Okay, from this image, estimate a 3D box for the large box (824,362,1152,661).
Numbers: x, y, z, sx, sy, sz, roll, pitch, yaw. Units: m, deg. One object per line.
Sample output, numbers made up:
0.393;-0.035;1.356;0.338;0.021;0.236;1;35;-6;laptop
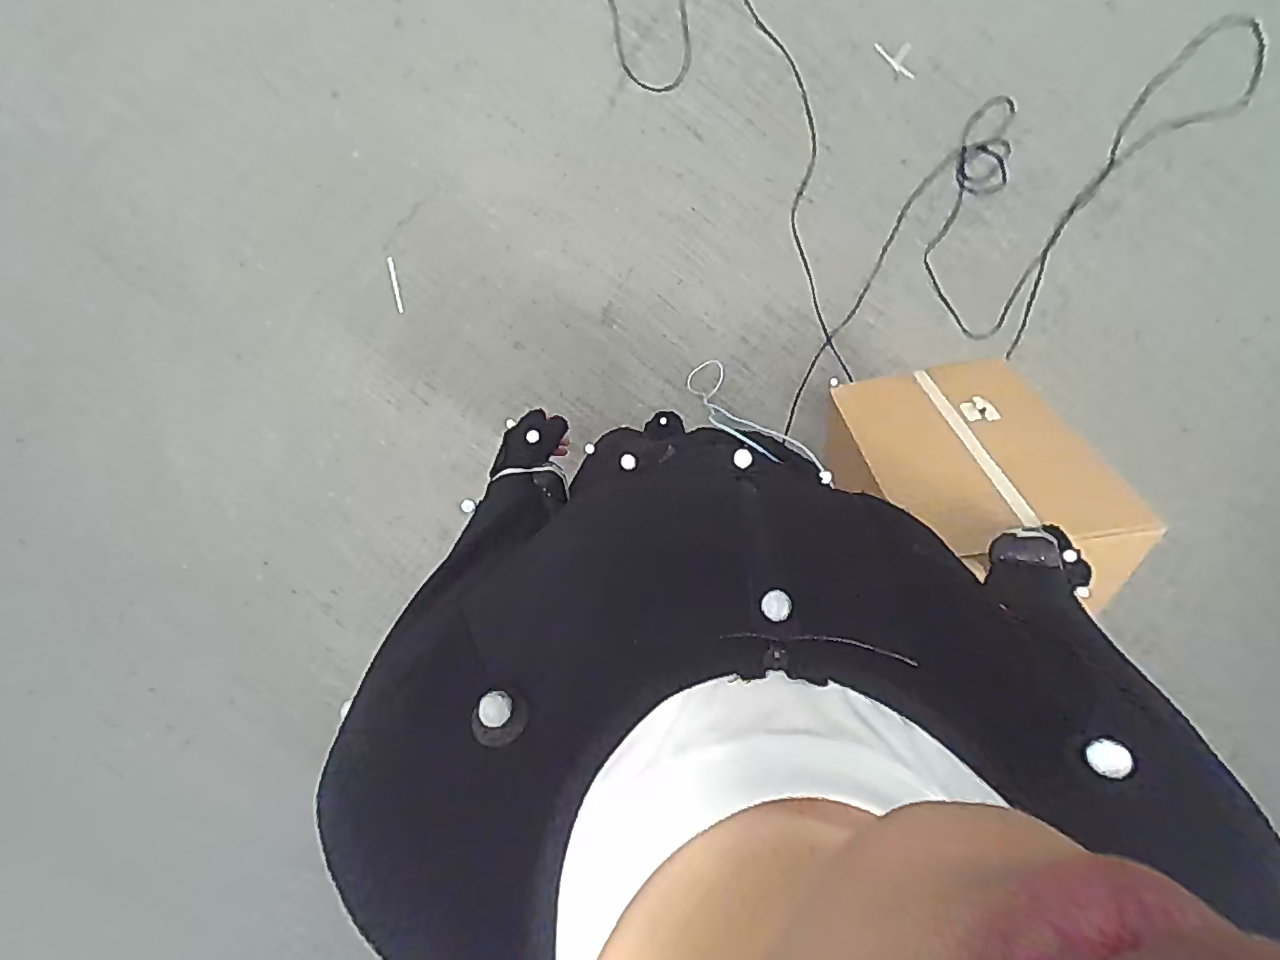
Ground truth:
0.541;0.052;0.961;0.320;0.408;0.320;-9;134;5;large box
